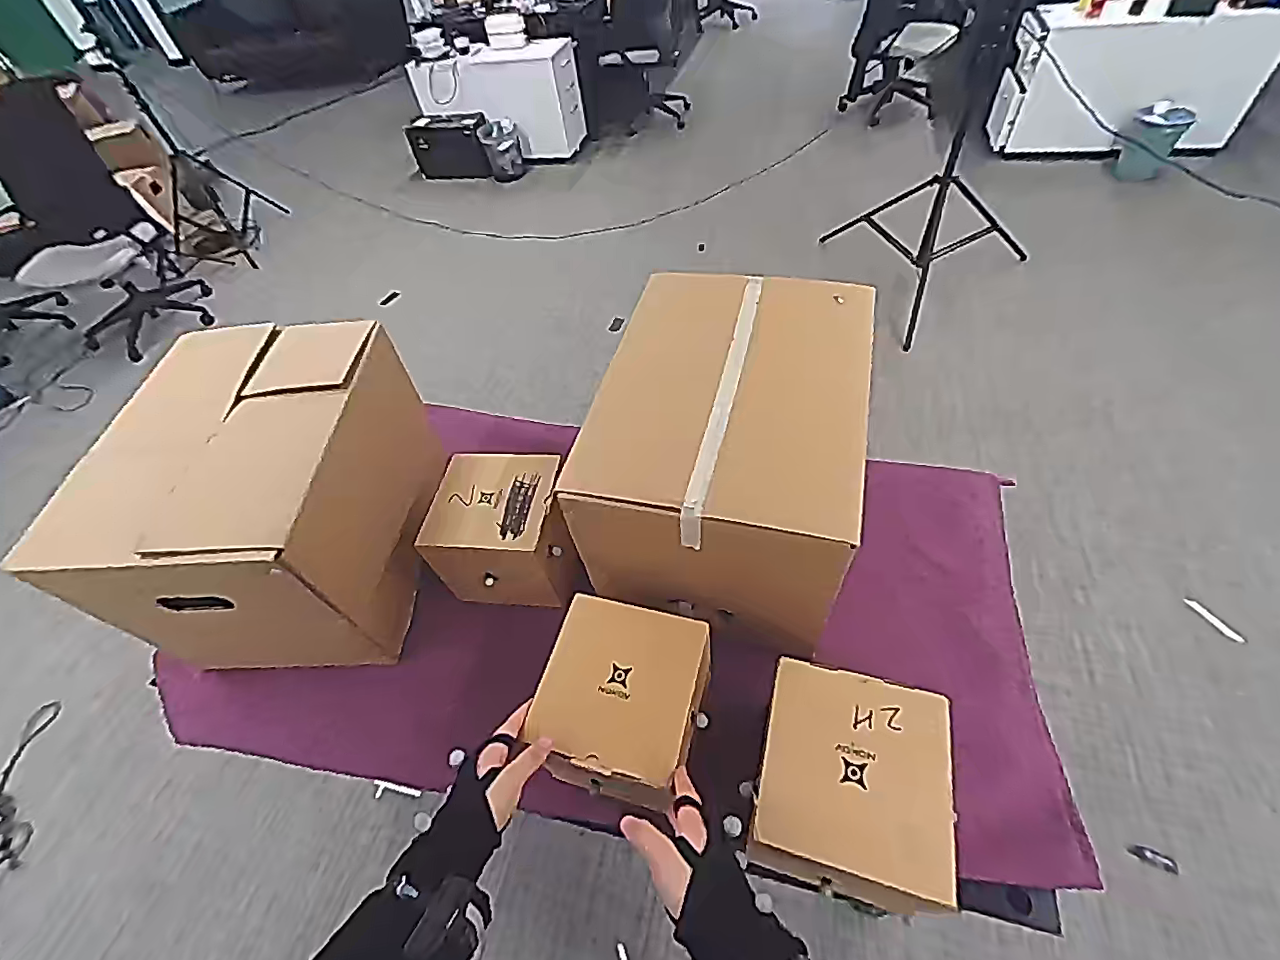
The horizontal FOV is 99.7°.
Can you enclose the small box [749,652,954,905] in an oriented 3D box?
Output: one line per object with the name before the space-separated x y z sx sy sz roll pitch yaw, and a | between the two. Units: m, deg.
small box | 0.210 0.311 0.563 0.168 0.176 0.179 9 52 16
